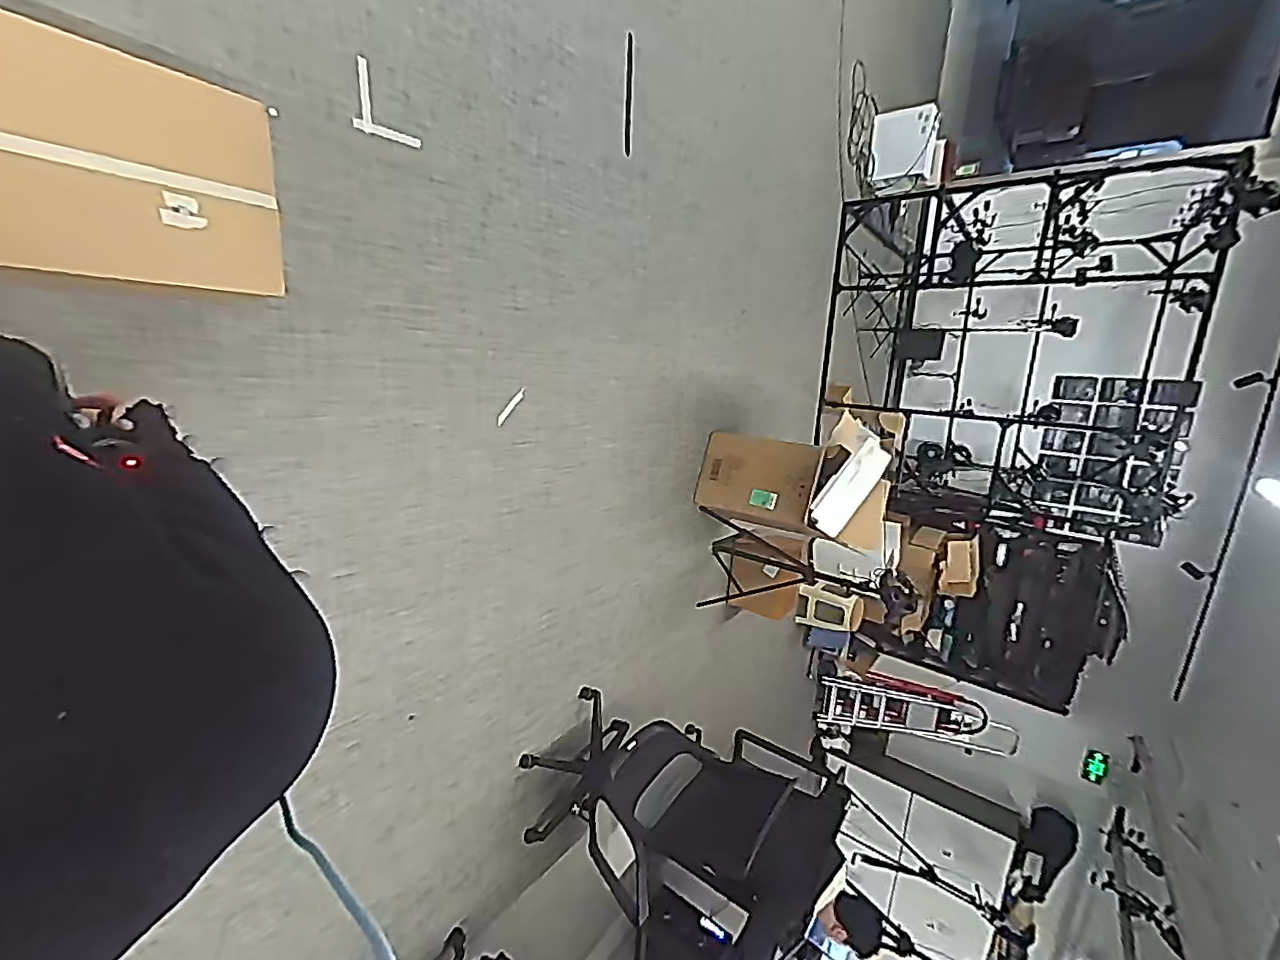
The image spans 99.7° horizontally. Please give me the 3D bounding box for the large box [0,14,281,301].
[{"bbox_3d":[-0.878,-0.471,0.867,0.408,0.320,0.320,-15,111,-53],"label":"large box"}]
